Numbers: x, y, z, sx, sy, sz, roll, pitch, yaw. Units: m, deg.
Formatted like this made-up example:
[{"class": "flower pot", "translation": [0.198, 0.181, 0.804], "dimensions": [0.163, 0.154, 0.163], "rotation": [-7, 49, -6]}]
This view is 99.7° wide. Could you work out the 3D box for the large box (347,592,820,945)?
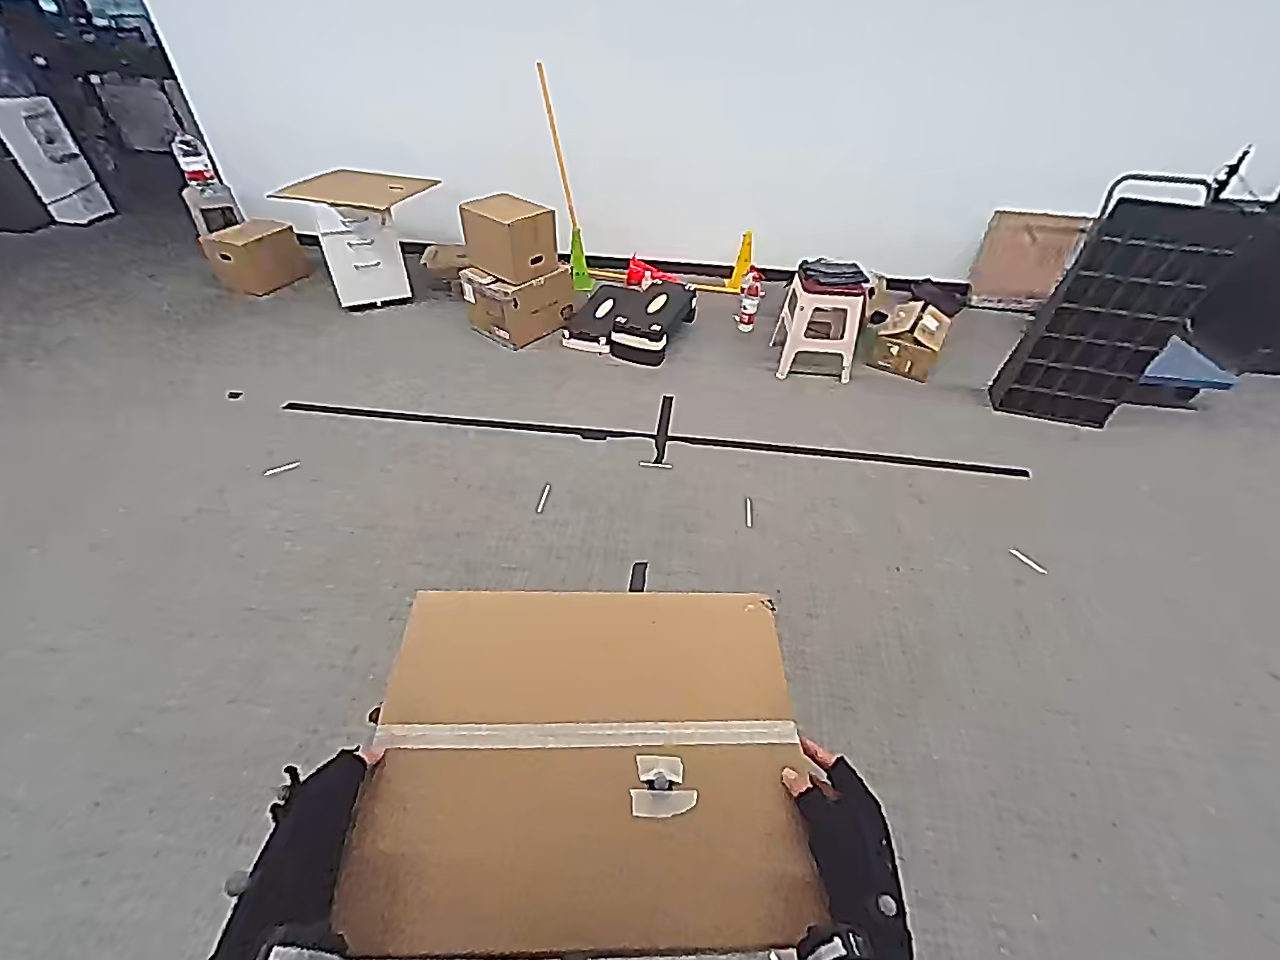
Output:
[{"class": "large box", "translation": [-0.056, 0.349, 0.656], "dimensions": [0.408, 0.320, 0.320], "rotation": [1, 49, -3]}]
